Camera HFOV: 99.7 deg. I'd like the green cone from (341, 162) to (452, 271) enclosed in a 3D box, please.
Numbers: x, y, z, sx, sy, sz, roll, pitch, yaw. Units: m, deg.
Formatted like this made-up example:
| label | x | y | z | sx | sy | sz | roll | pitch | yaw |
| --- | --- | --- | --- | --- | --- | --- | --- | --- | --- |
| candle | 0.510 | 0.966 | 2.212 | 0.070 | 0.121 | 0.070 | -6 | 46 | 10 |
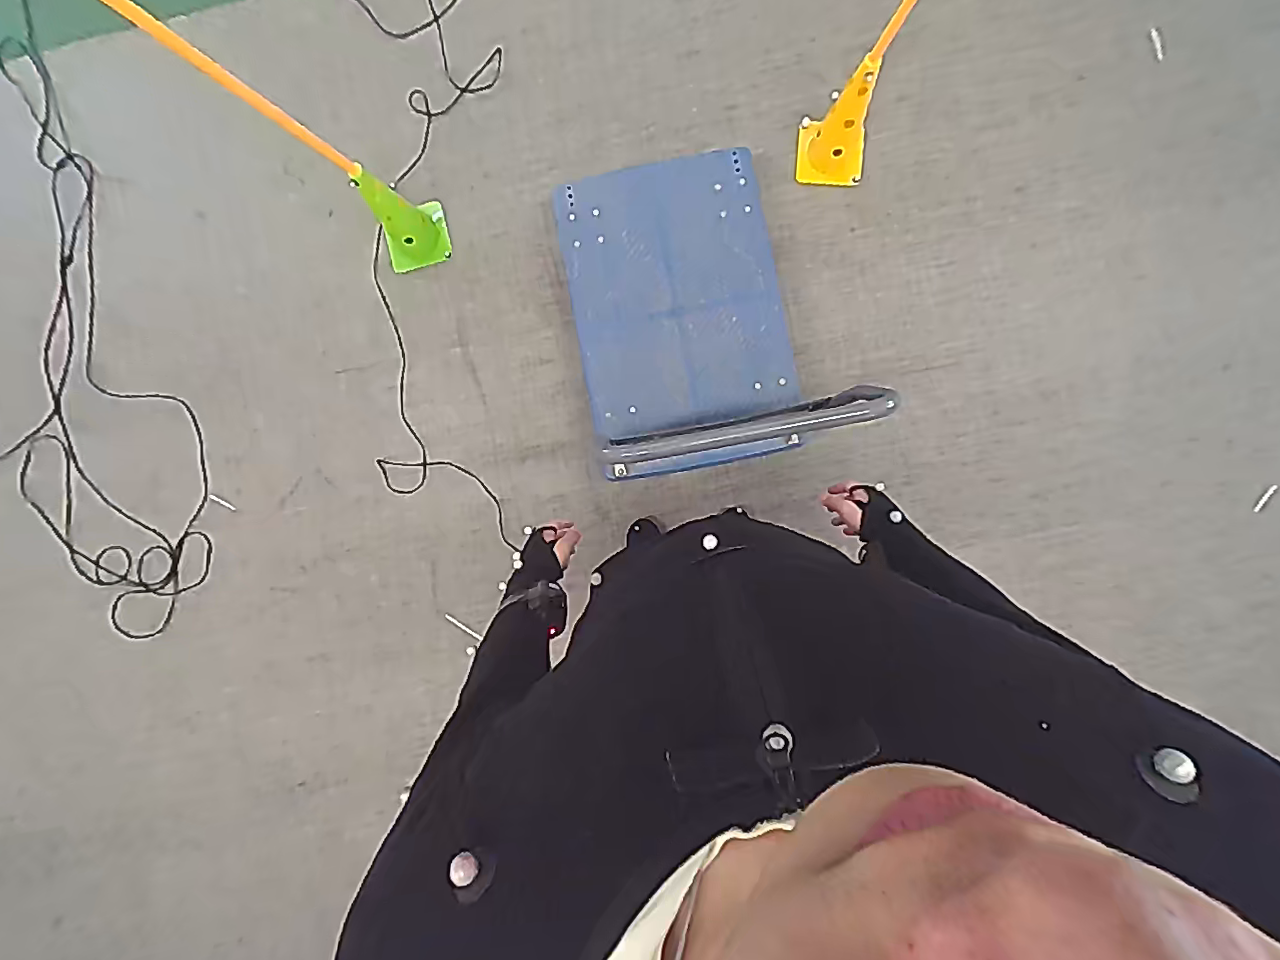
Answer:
| label | x | y | z | sx | sy | sz | roll | pitch | yaw |
| --- | --- | --- | --- | --- | --- | --- | --- | --- | --- |
| green cone | -0.726 | -0.793 | 1.558 | 0.202 | 0.368 | 0.200 | -15 | 86 | 4 |
